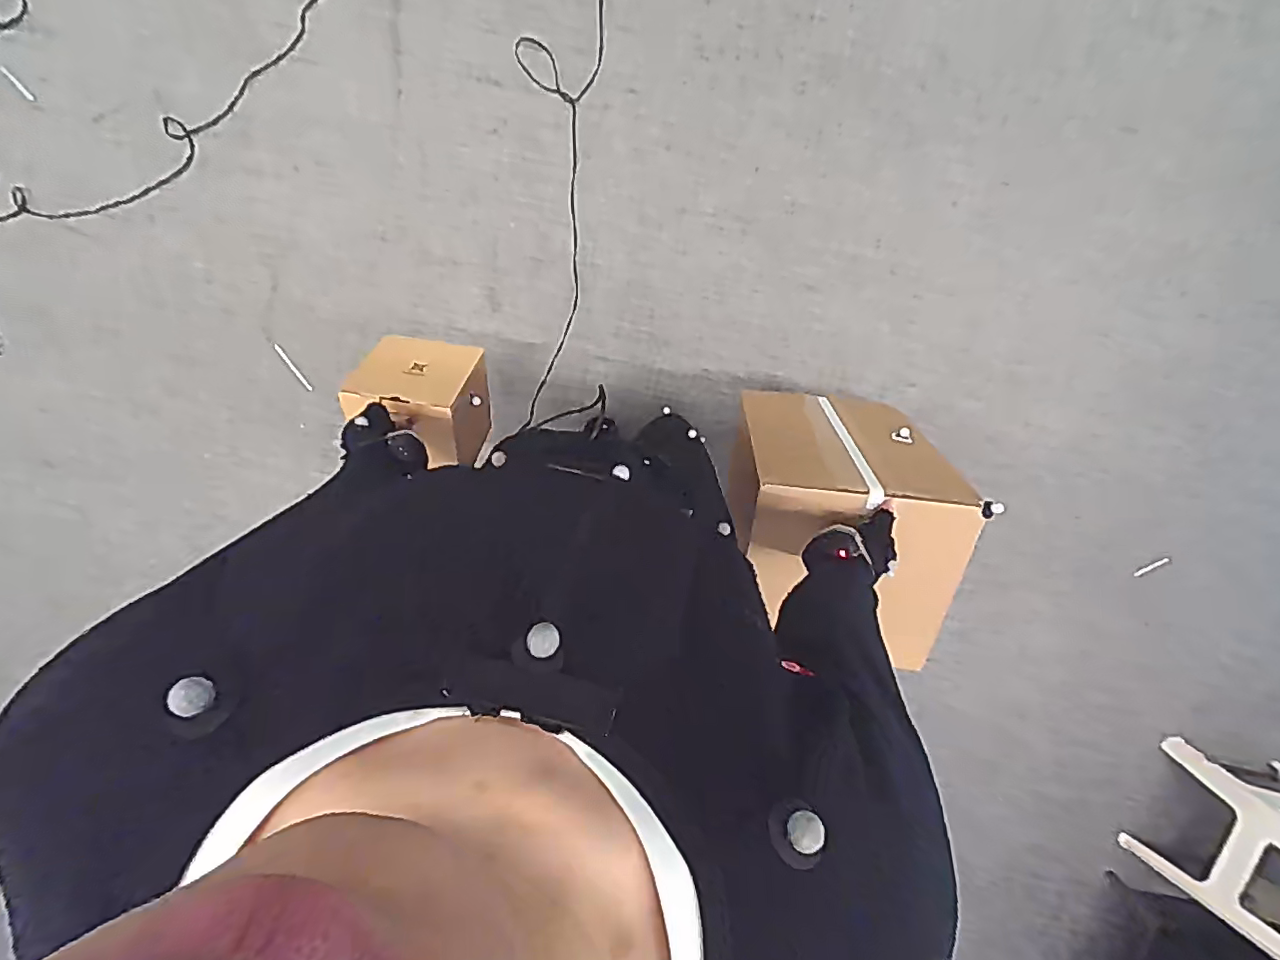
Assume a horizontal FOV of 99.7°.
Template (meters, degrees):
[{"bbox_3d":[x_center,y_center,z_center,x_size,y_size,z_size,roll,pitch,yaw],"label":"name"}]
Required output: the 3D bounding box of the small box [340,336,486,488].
[{"bbox_3d":[-0.361,-0.113,0.899,0.168,0.179,0.176,8,133,-2],"label":"small box"}]
